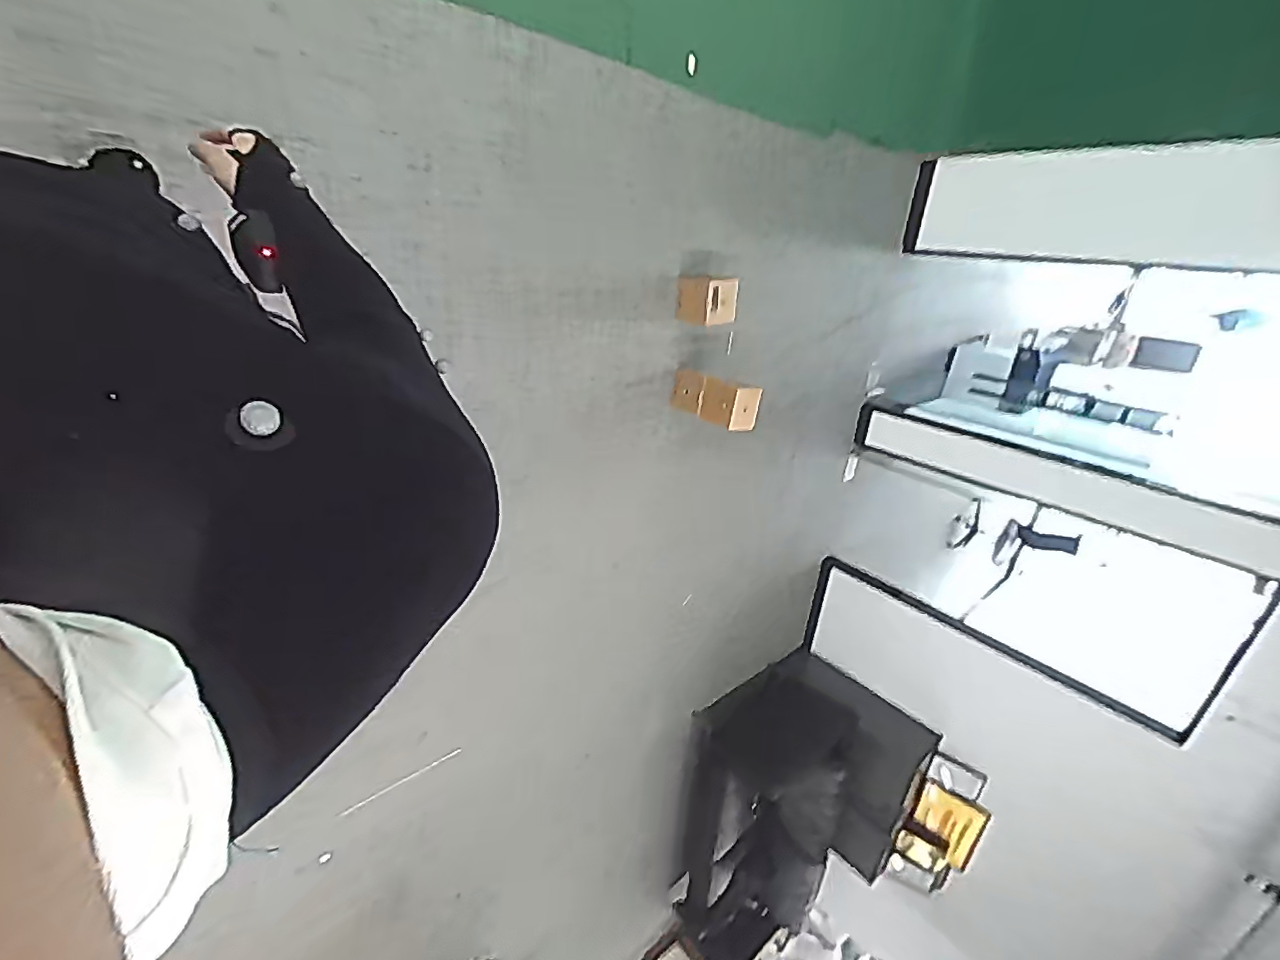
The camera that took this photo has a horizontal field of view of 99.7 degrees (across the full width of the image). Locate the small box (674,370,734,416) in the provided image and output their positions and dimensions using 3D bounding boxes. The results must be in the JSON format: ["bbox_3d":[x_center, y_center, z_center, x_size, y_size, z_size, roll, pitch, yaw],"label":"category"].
[{"bbox_3d":[0.271,-0.377,2.339,0.179,0.176,0.168,-6,115,-41],"label":"small box"}]

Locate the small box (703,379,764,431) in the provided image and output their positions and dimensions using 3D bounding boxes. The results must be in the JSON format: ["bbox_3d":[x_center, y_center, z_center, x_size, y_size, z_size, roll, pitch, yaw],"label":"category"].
[{"bbox_3d":[0.381,-0.312,2.237,0.168,0.176,0.179,-8,116,-41],"label":"small box"}]
